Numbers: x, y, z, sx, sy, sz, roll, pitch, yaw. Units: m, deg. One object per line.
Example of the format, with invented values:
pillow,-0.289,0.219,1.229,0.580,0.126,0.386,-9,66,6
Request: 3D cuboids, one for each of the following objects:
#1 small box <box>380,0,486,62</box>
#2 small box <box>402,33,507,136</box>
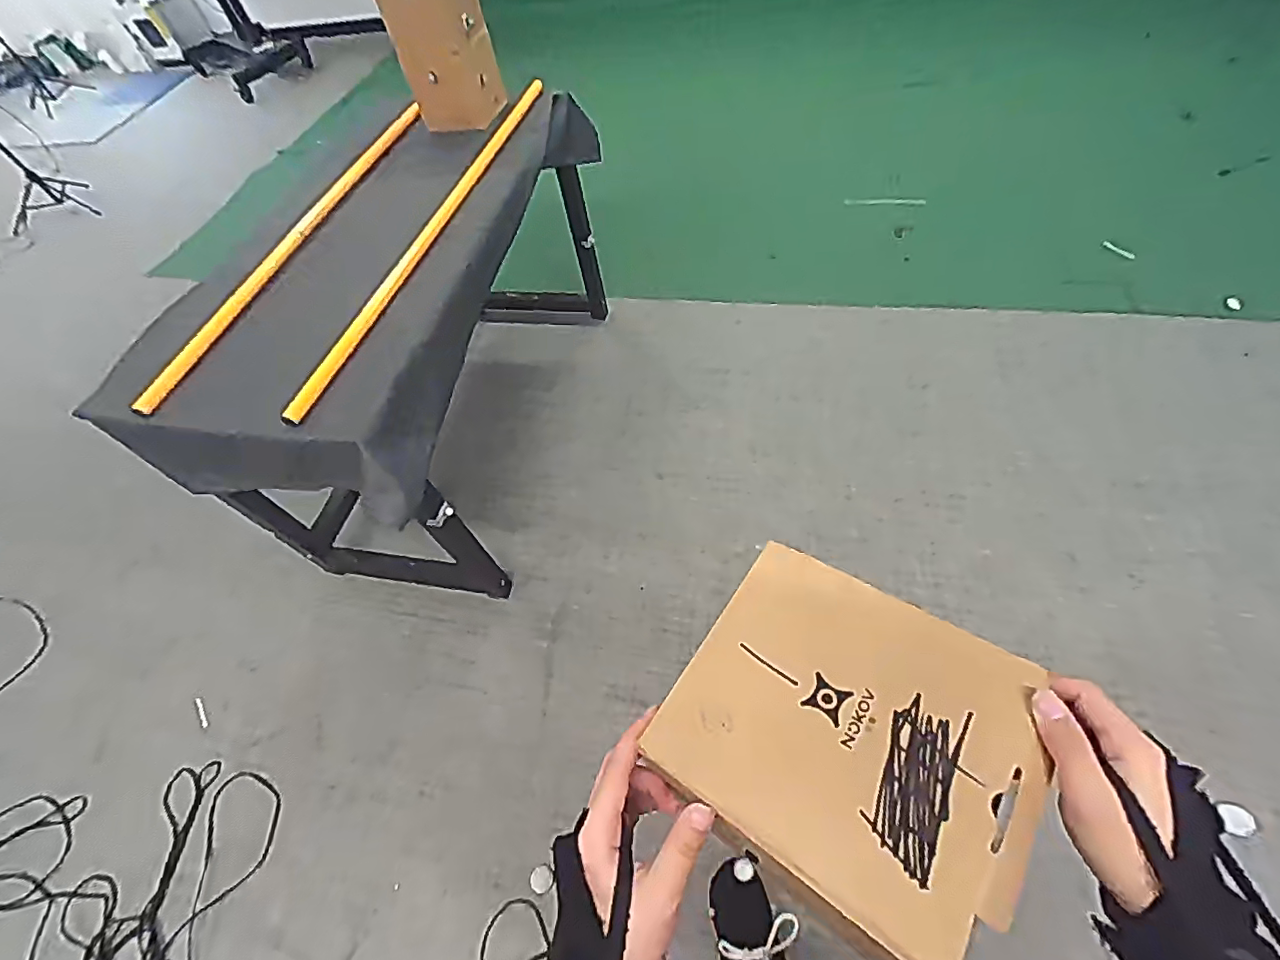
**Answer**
small box,-0.494,-1.119,1.276,0.179,0.176,0.168,5,59,12
small box,-0.471,-1.025,1.407,0.179,0.176,0.168,7,58,14
